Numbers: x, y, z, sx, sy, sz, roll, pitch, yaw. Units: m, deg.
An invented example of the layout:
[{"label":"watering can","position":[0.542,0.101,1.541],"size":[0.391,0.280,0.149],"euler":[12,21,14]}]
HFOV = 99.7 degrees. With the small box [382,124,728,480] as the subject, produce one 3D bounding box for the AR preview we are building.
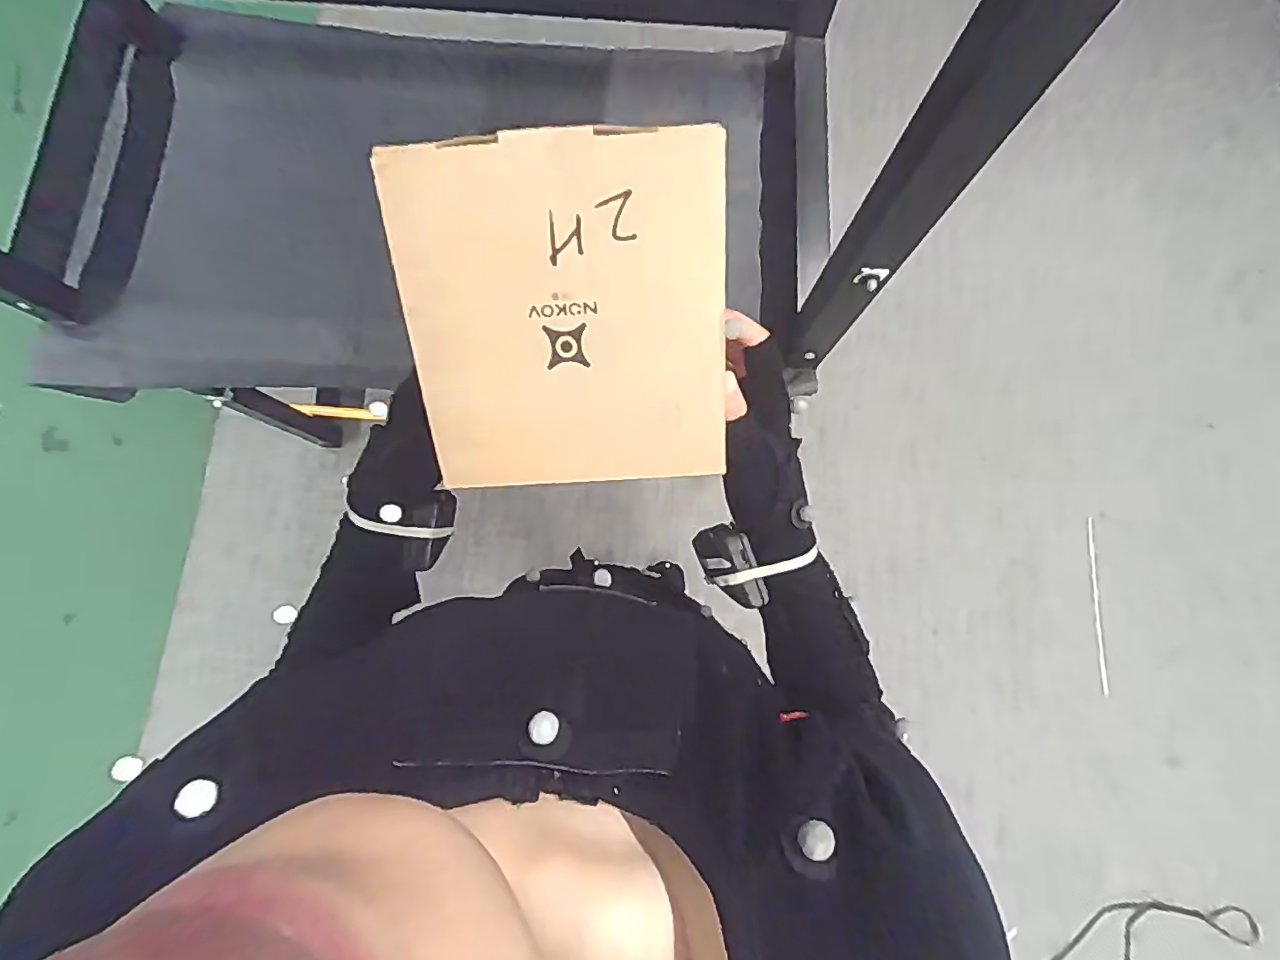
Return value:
[{"label":"small box","position":[-0.035,-0.114,0.358],"size":[0.168,0.176,0.179],"euler":[-3,113,1]}]
